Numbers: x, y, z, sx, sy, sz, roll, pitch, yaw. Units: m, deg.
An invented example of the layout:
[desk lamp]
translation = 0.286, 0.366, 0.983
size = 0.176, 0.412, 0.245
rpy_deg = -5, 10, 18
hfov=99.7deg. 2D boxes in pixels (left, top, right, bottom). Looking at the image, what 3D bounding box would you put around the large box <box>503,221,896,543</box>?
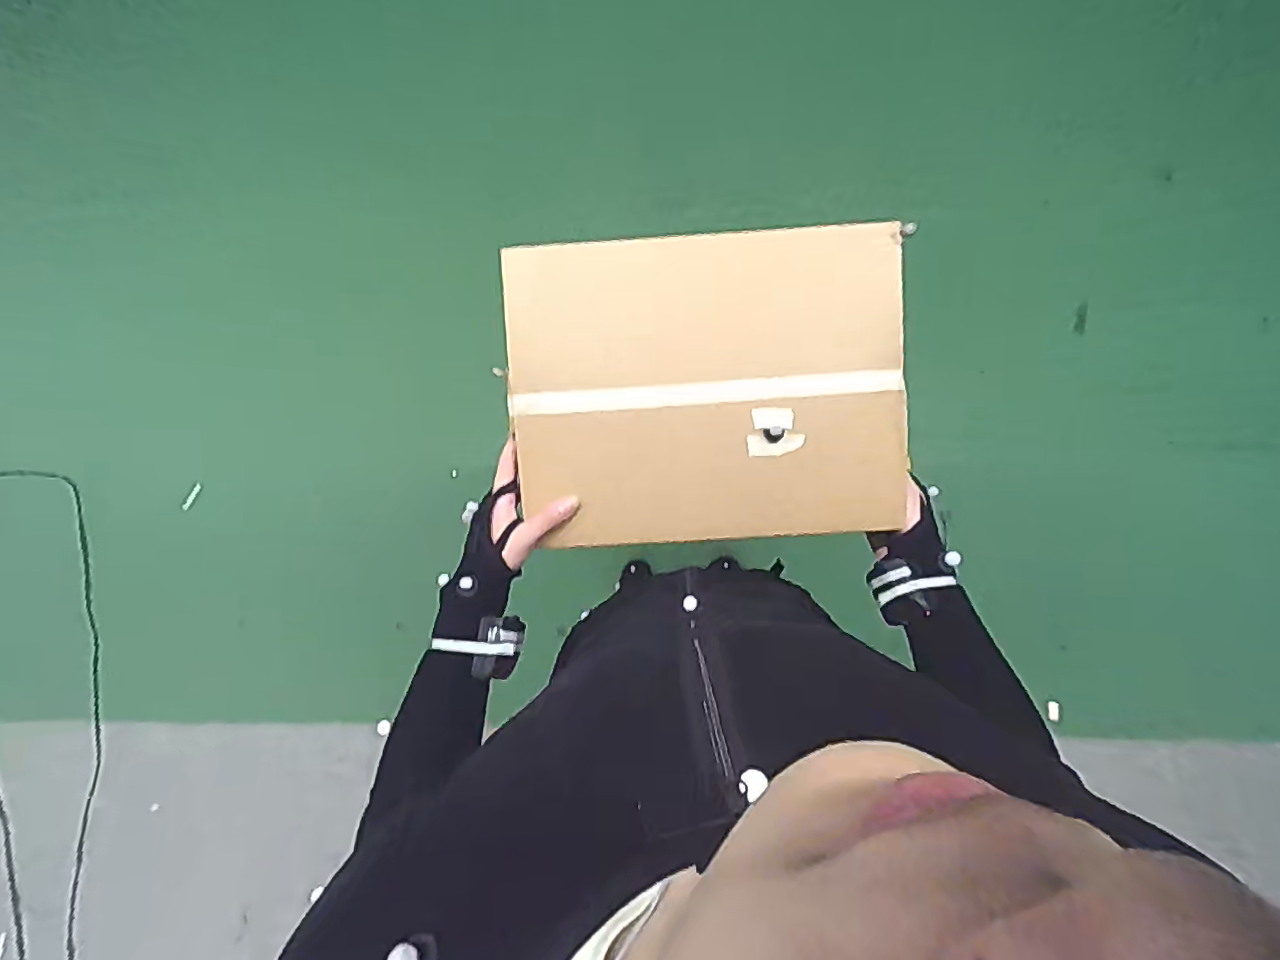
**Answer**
[large box]
translation = 0.065, -0.111, 0.717
size = 0.408, 0.320, 0.320
rpy_deg = -4, 96, 0
